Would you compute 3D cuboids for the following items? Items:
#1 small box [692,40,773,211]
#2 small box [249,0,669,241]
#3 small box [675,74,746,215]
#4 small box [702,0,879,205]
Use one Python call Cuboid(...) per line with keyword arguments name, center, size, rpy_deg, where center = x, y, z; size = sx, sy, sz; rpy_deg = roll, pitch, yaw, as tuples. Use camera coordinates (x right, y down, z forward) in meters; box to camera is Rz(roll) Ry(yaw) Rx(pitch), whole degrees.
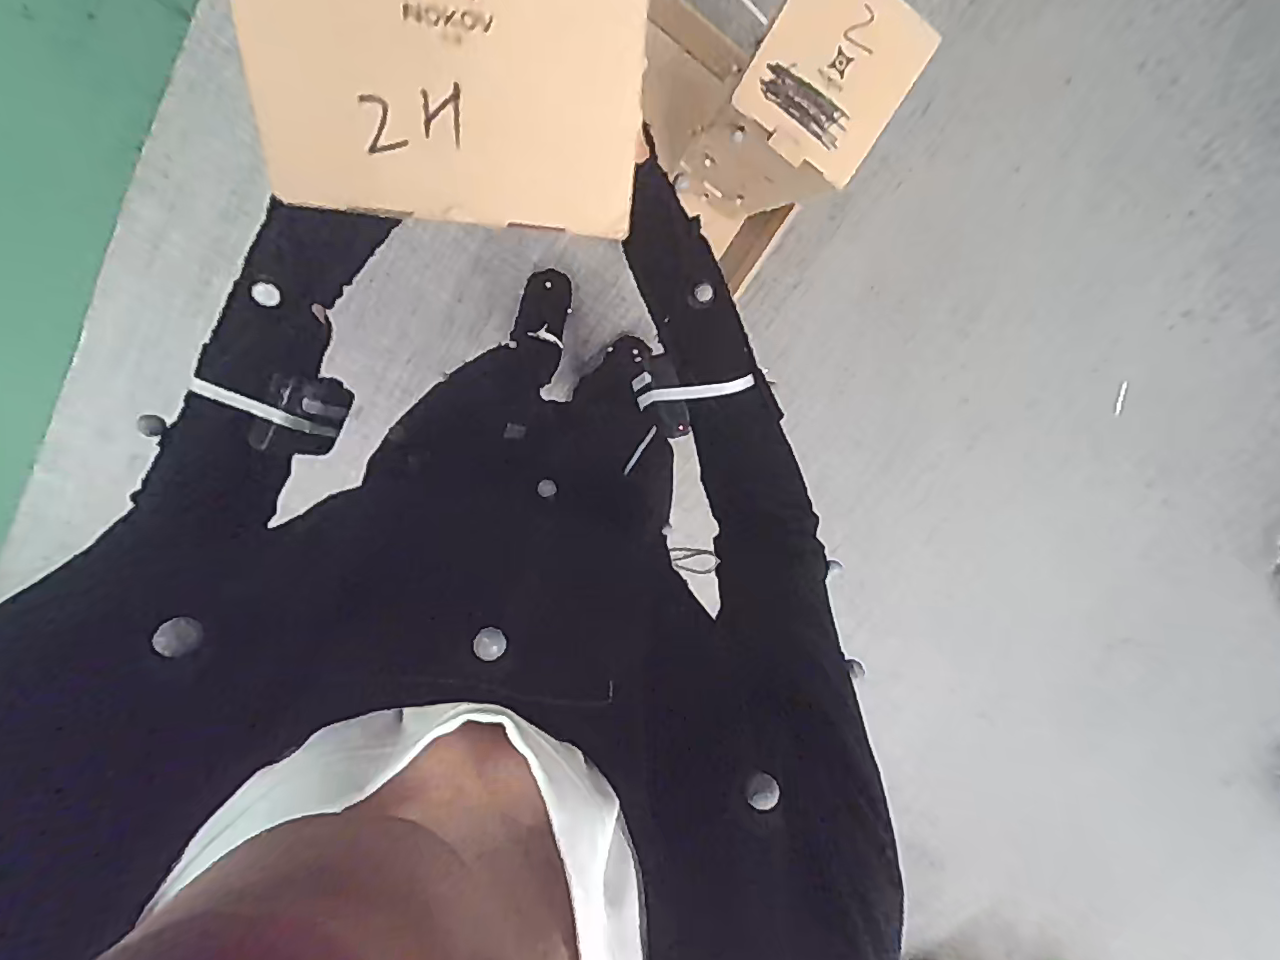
Cuboid(name="small box", center=(0.206, -0.601, 0.947), size=(0.168, 0.176, 0.179), rpy_deg=(32, 106, -14))
Cuboid(name="small box", center=(-0.078, -0.239, 0.282), size=(0.168, 0.176, 0.179), rpy_deg=(2, 122, -8))
Cuboid(name="small box", center=(0.184, -0.673, 1.113), size=(0.168, 0.176, 0.179), rpy_deg=(28, 107, -12))
Cuboid(name="small box", center=(0.209, -0.543, 0.812), size=(0.168, 0.176, 0.179), rpy_deg=(32, 106, -15))
